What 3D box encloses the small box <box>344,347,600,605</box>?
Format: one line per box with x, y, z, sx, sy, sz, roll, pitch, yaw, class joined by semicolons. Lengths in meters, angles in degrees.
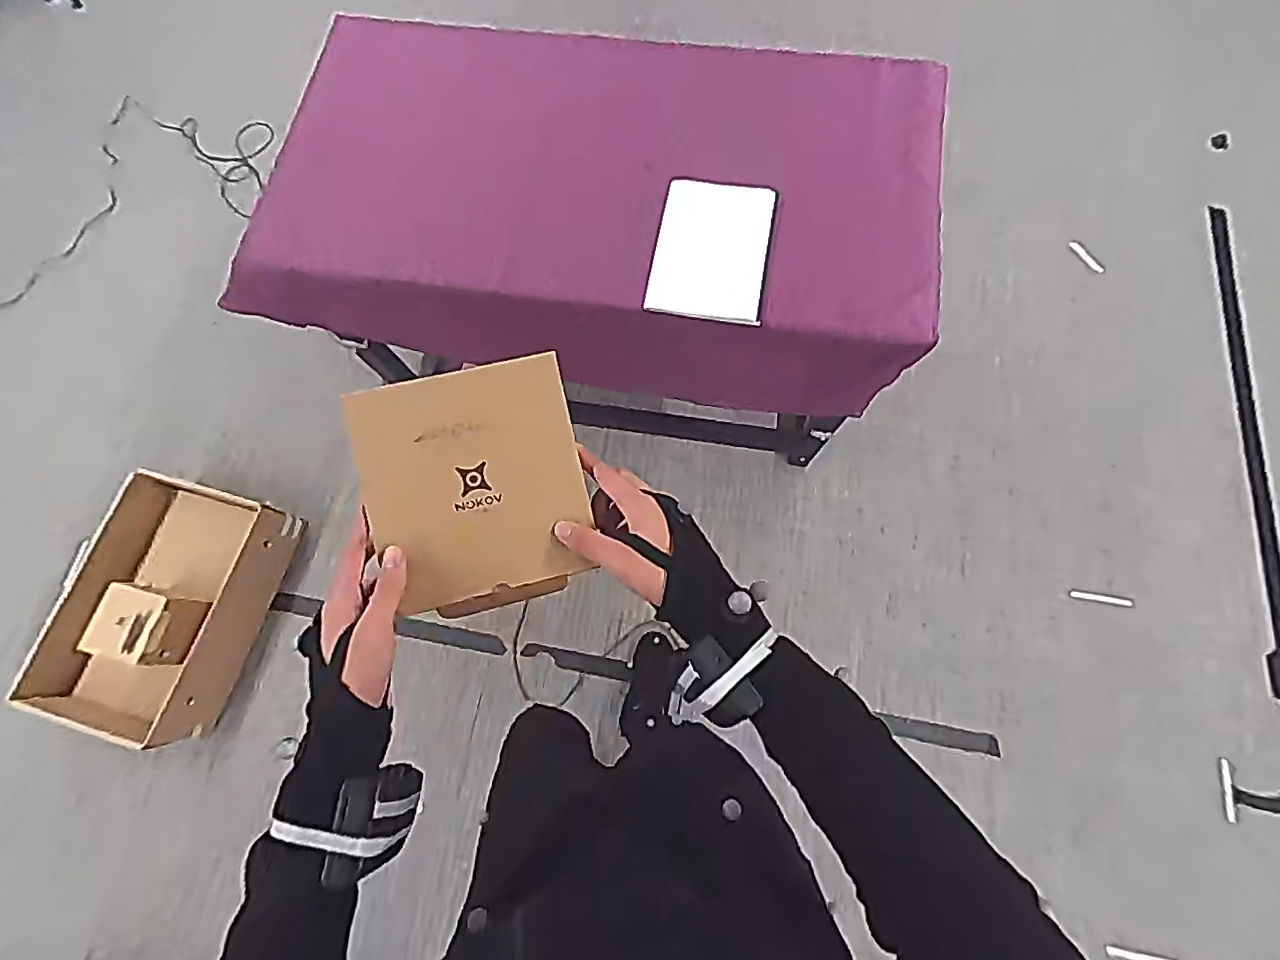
-0.134;-0.007;0.495;0.168;0.176;0.179;-12;93;-6;small box
